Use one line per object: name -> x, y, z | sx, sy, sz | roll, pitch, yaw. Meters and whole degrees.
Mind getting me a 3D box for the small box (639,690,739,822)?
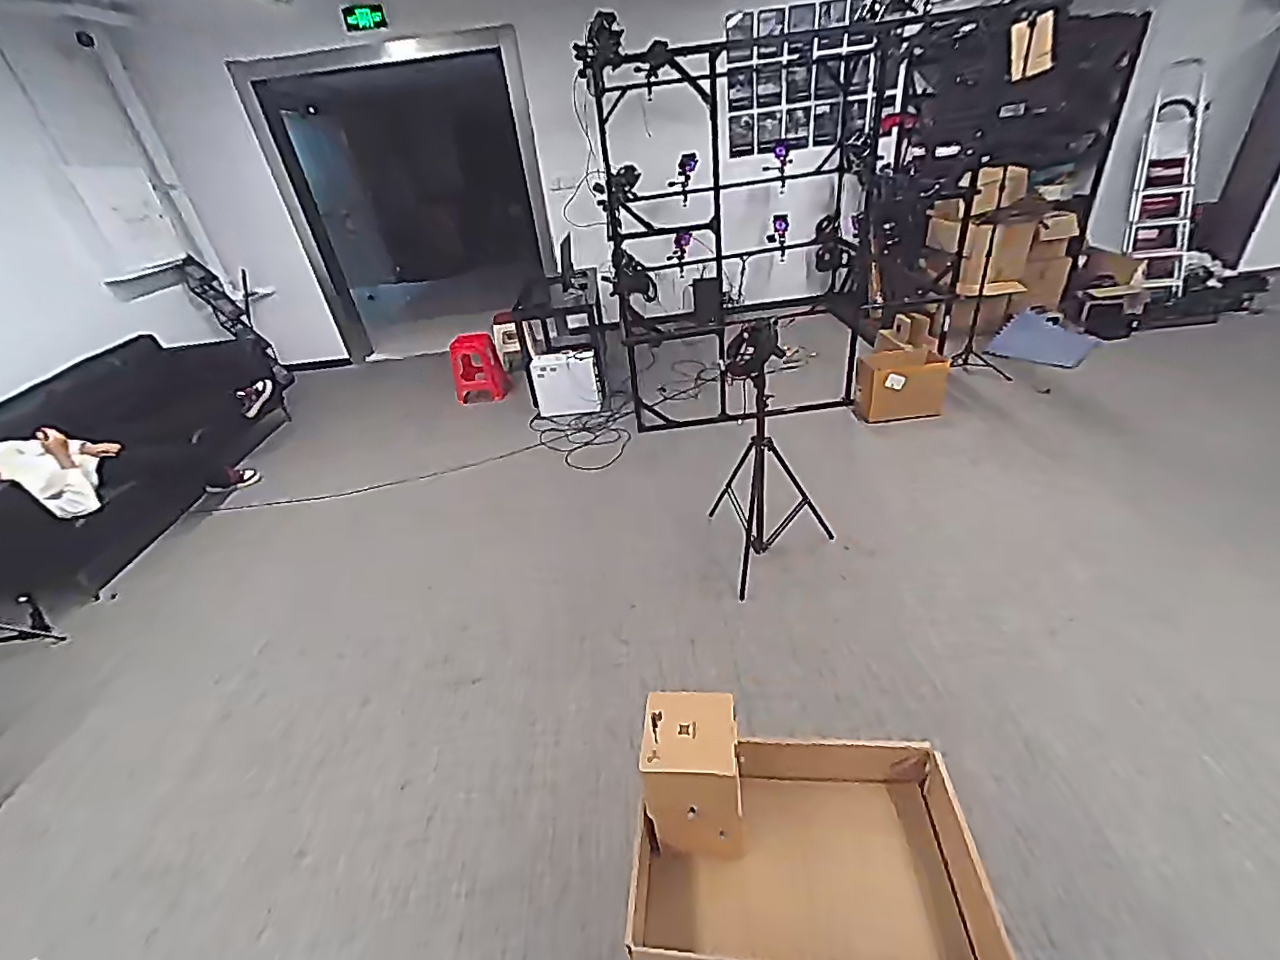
small box -> 0.102, 0.534, 1.048 | 0.179, 0.176, 0.168 | -2, 32, 10
